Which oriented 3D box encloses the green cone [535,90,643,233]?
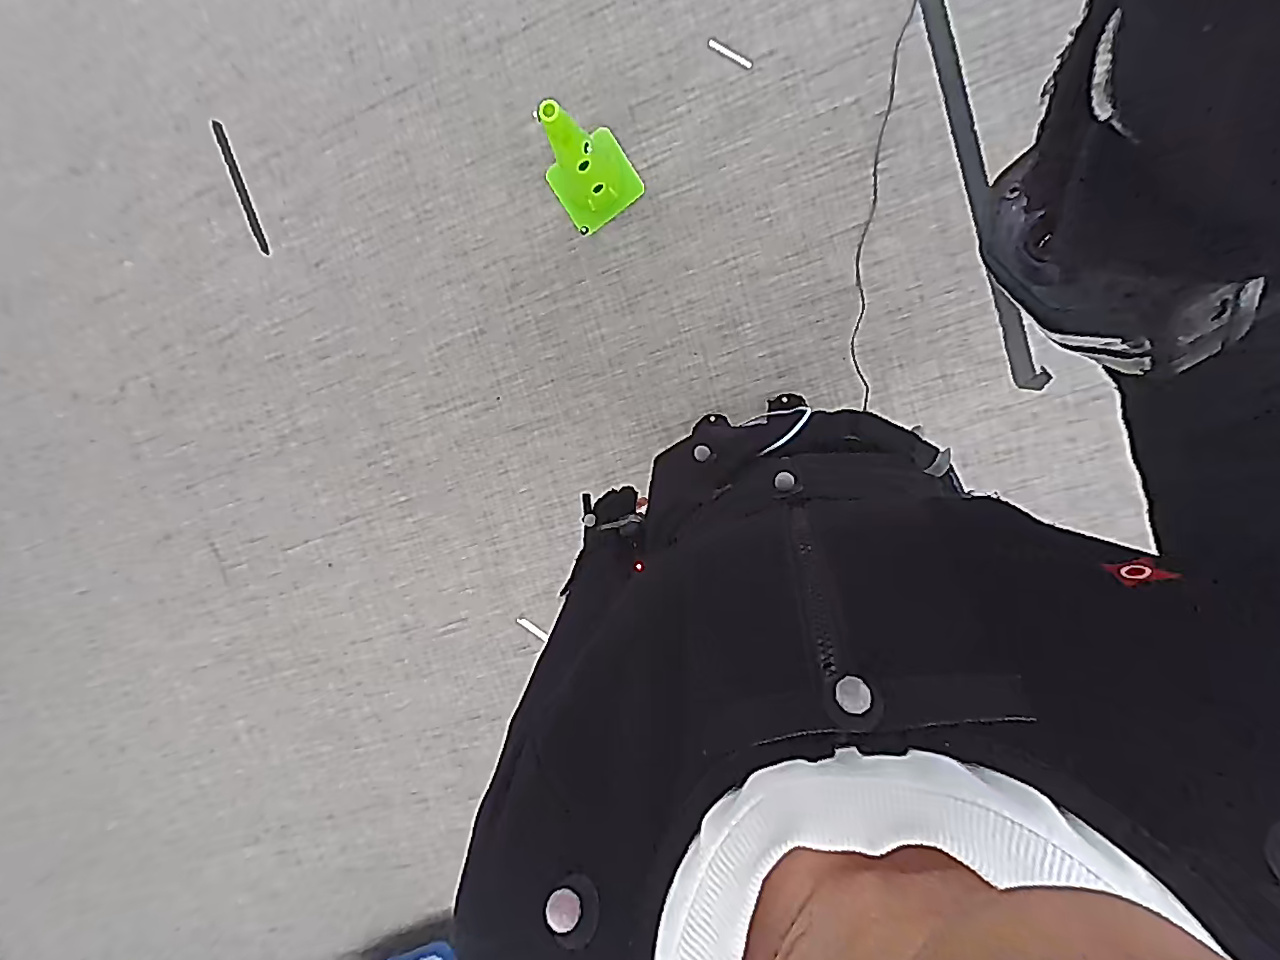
[{"bbox_3d":[-0.147,-0.745,1.213,0.200,0.368,0.202,-33,90,12],"label":"green cone"}]
